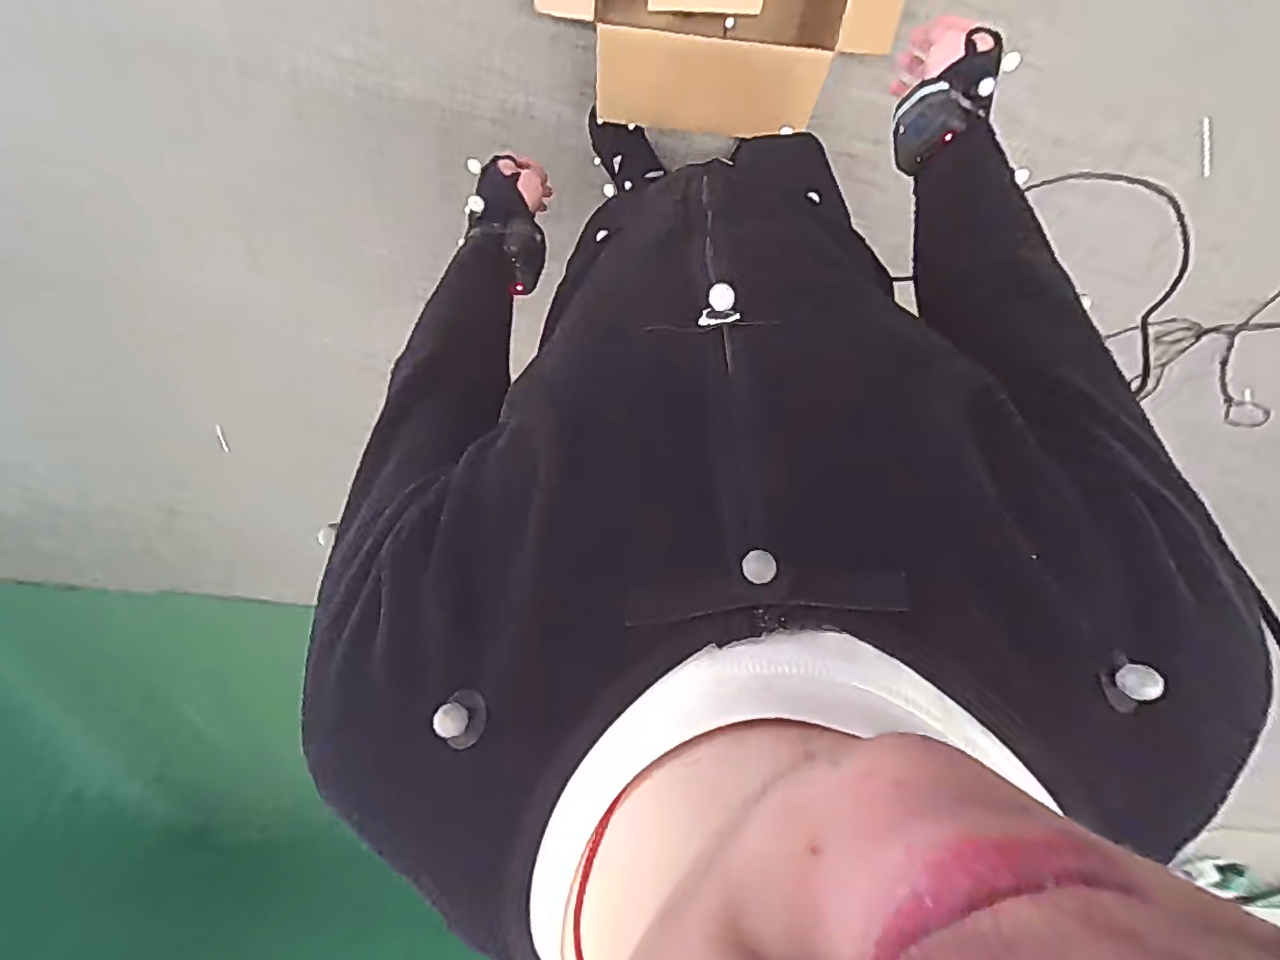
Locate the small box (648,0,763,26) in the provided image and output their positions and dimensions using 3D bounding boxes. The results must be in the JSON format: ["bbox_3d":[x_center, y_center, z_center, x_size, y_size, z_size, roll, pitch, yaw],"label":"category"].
[{"bbox_3d":[0.108,-0.826,0.846,0.179,0.176,0.168,5,127,4],"label":"small box"}]
